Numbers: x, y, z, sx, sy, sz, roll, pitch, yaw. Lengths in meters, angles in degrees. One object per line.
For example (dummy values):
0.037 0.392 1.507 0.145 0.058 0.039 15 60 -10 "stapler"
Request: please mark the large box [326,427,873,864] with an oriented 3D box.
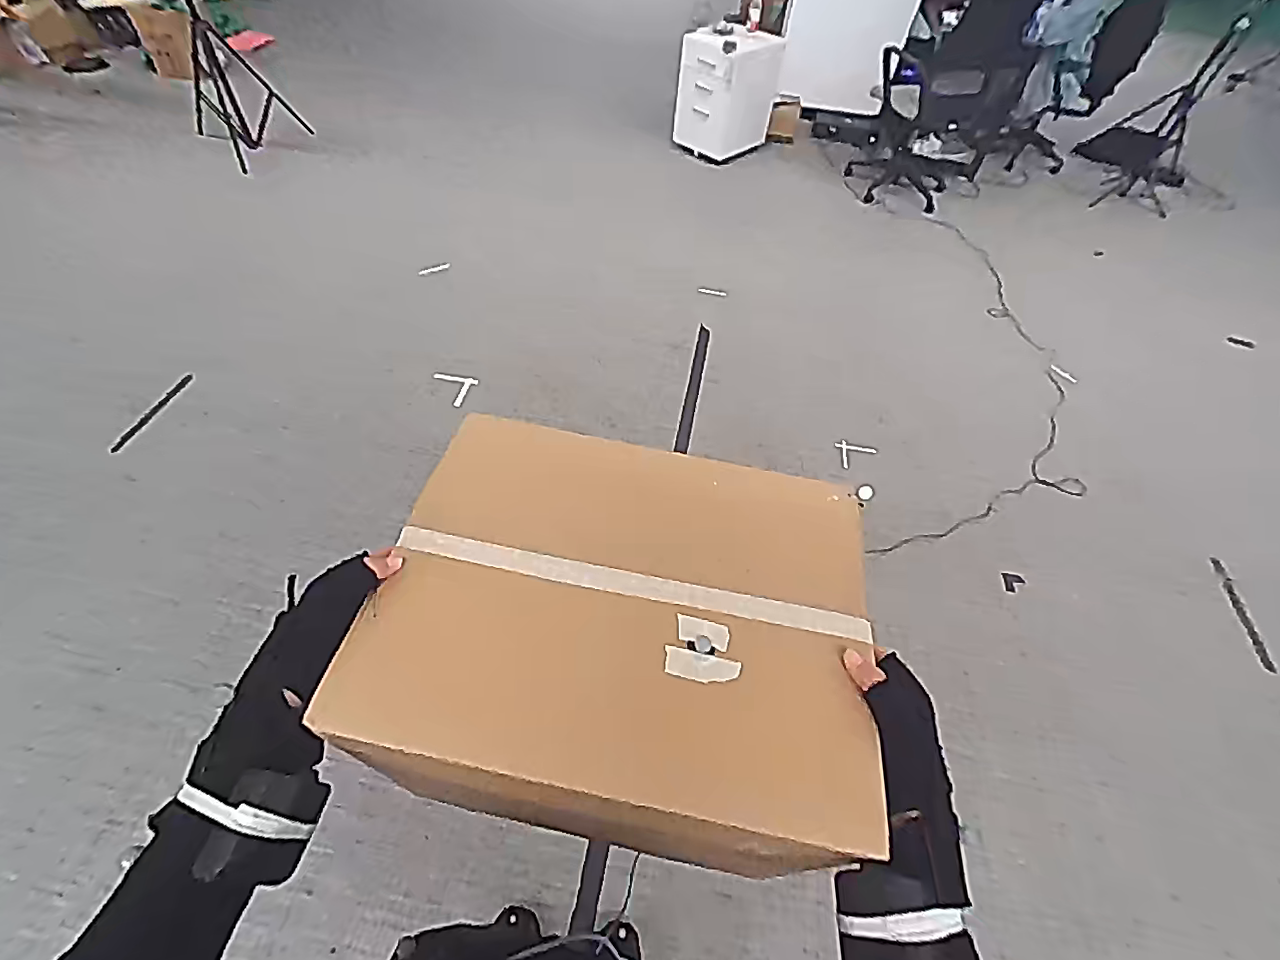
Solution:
-0.023 0.186 0.587 0.408 0.320 0.320 11 53 2 "large box"
